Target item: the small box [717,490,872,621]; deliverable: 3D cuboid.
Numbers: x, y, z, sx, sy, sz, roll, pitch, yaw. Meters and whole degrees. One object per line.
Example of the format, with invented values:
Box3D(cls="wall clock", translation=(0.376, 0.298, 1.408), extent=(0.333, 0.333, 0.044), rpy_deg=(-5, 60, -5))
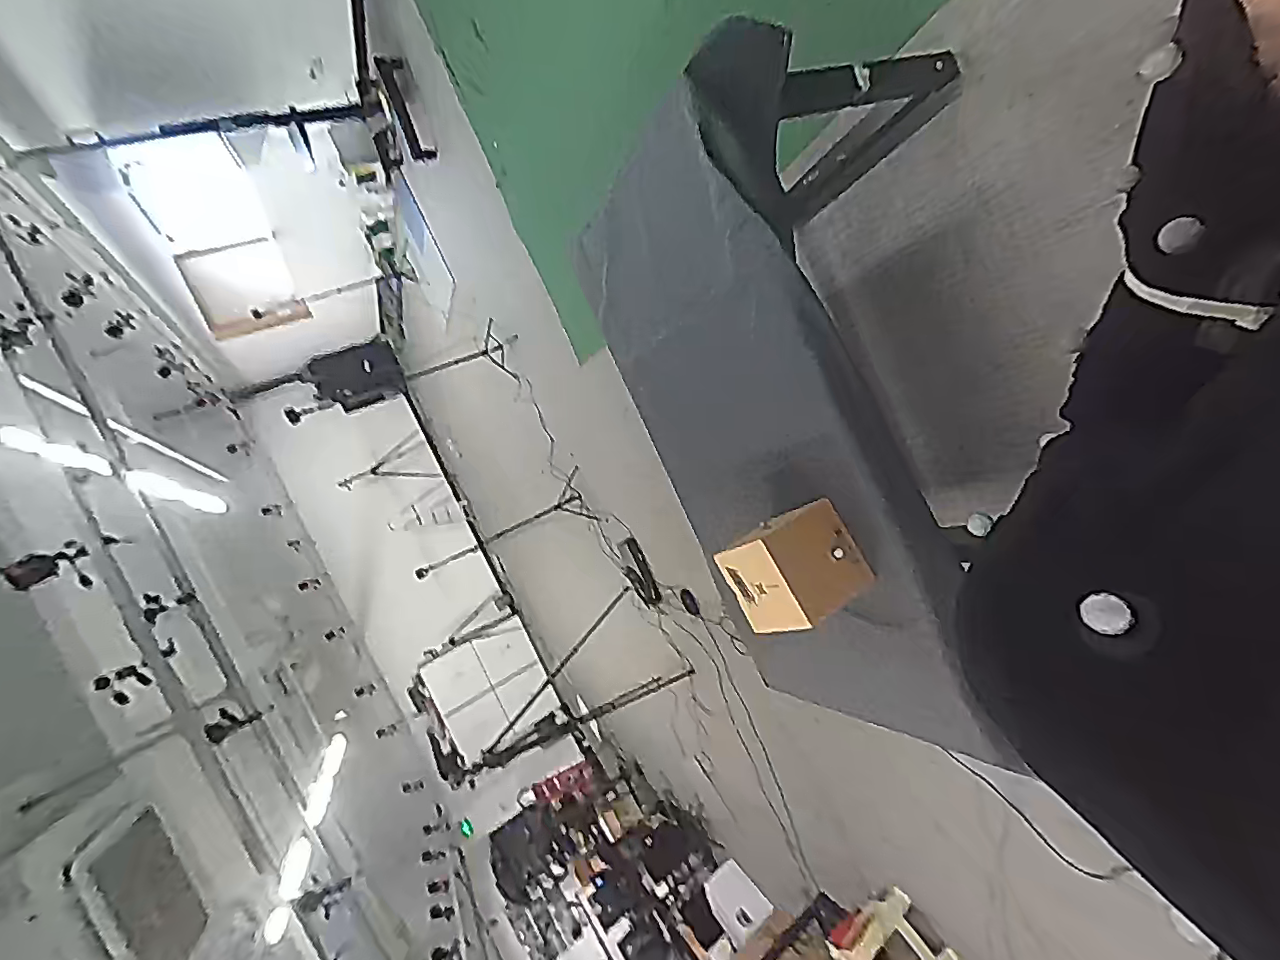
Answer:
Box3D(cls="small box", translation=(0.277, 0.140, 0.983), extent=(0.168, 0.176, 0.179), rpy_deg=(60, 155, 5))
